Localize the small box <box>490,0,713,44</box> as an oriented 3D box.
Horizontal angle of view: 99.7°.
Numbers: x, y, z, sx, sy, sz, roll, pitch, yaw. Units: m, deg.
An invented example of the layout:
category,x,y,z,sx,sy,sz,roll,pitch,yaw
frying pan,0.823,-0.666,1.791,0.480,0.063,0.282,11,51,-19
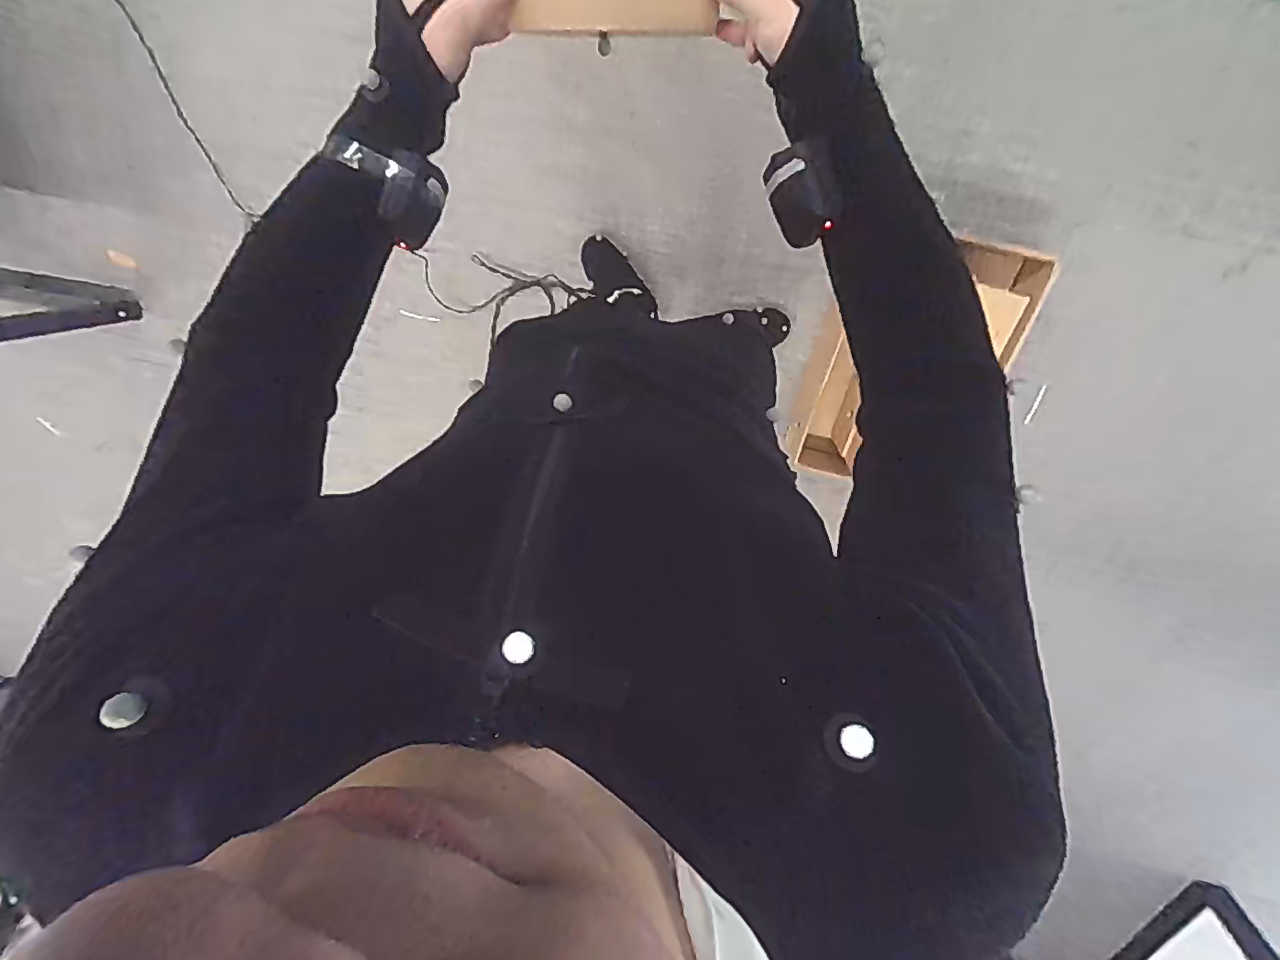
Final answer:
category,x,y,z,sx,sy,sz,roll,pitch,yaw
small box,-0.023,-0.467,0.444,0.179,0.176,0.168,3,129,3
